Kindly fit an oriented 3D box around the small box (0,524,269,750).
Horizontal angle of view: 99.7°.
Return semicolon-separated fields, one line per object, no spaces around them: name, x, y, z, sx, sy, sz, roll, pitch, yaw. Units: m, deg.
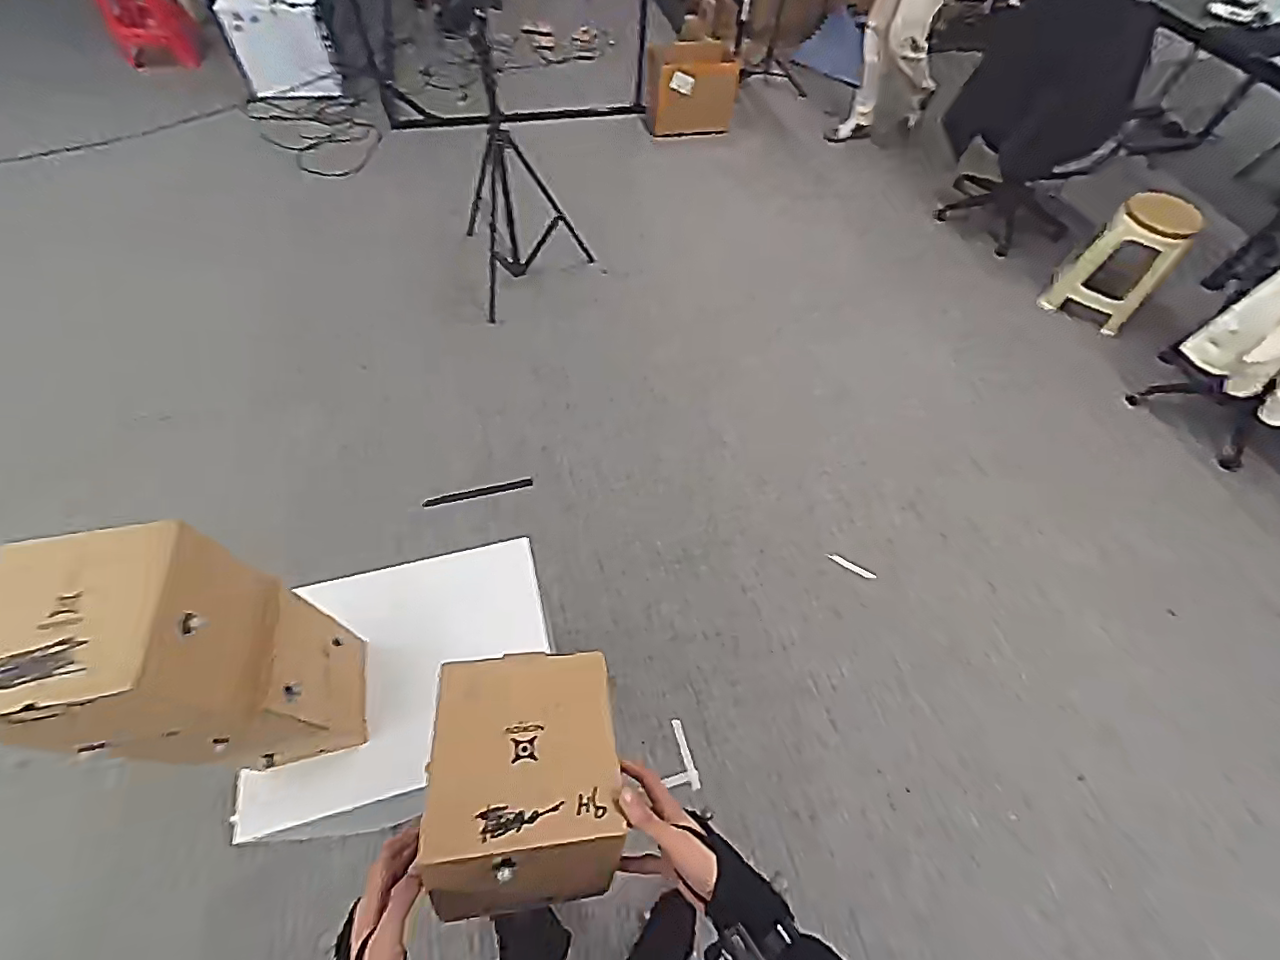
small box;-0.524;0.170;0.562;0.168;0.176;0.179;-8;58;-9

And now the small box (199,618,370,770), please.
small box;-0.536;0.339;0.845;0.168;0.176;0.179;-11;59;-11

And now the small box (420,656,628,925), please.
small box;-0.112;0.302;0.539;0.168;0.176;0.179;0;39;-12
